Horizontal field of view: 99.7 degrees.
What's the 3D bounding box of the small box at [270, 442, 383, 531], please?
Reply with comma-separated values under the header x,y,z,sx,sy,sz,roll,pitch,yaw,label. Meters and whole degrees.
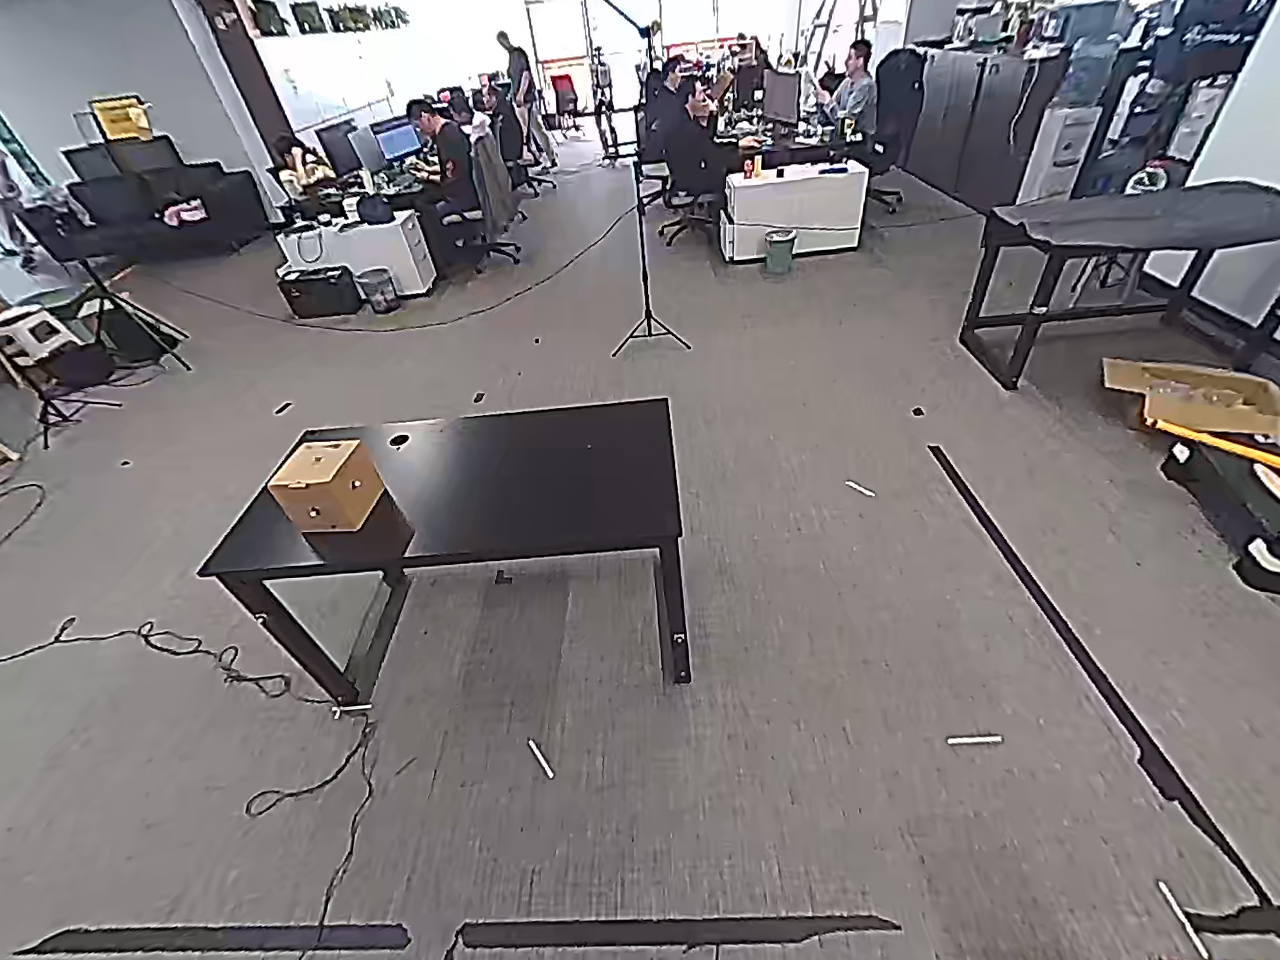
x,y,z,sx,sy,sz,roll,pitch,yaw,label
-0.805,0.022,1.414,0.168,0.176,0.179,-2,41,6,small box
